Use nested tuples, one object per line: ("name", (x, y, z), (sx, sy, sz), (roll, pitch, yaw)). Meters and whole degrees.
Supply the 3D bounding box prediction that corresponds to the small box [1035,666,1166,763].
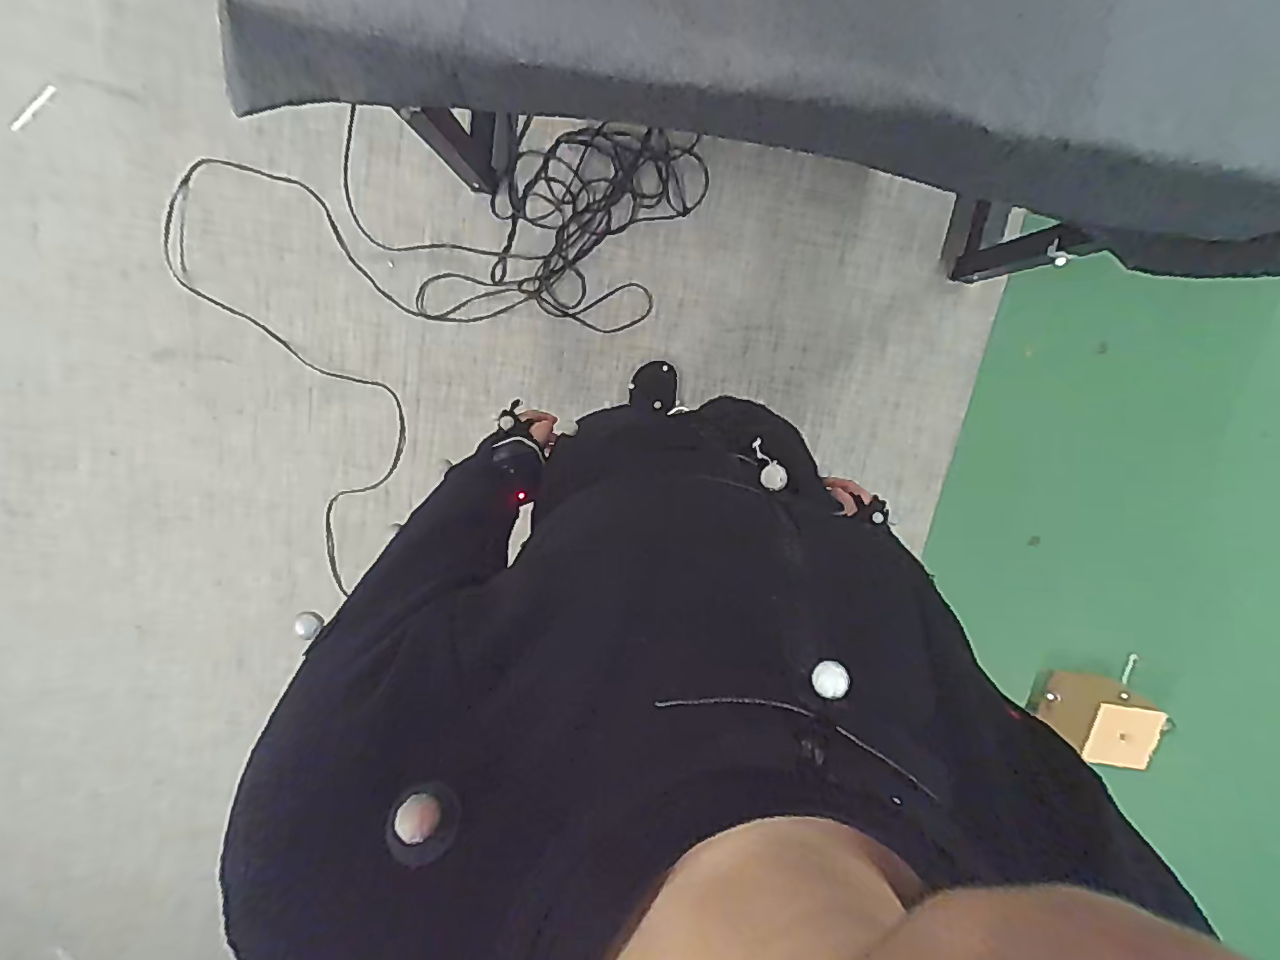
("small box", (1.208, 0.614, 1.432), (0.179, 0.176, 0.168), (9, 101, -2))
